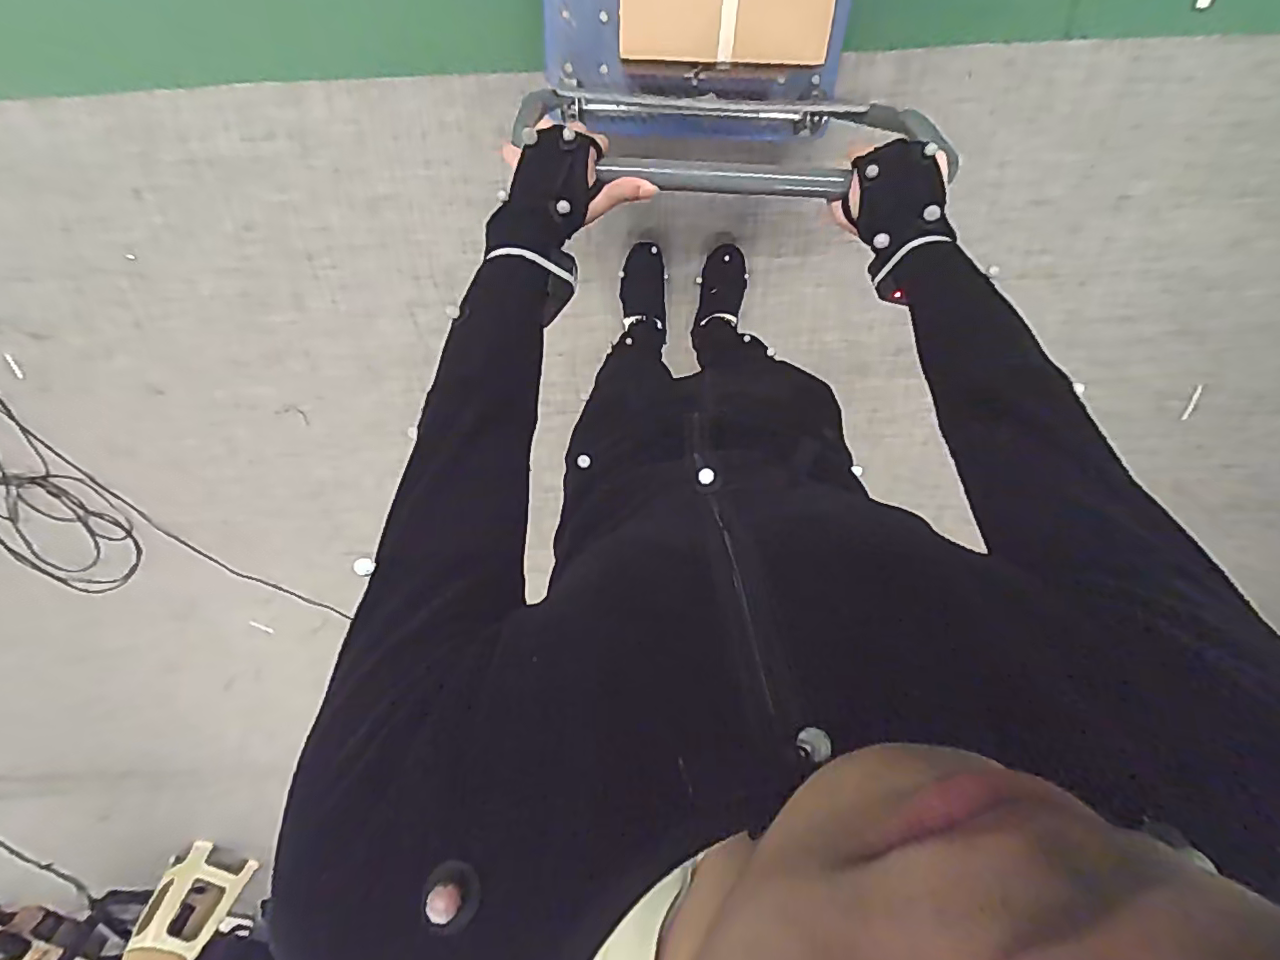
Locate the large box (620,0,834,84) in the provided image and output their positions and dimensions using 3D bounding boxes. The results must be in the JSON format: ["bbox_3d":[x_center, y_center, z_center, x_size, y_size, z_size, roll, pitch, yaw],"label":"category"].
[{"bbox_3d":[0.130,-0.875,0.842,0.320,0.320,0.408,1,122,-1],"label":"large box"}]
